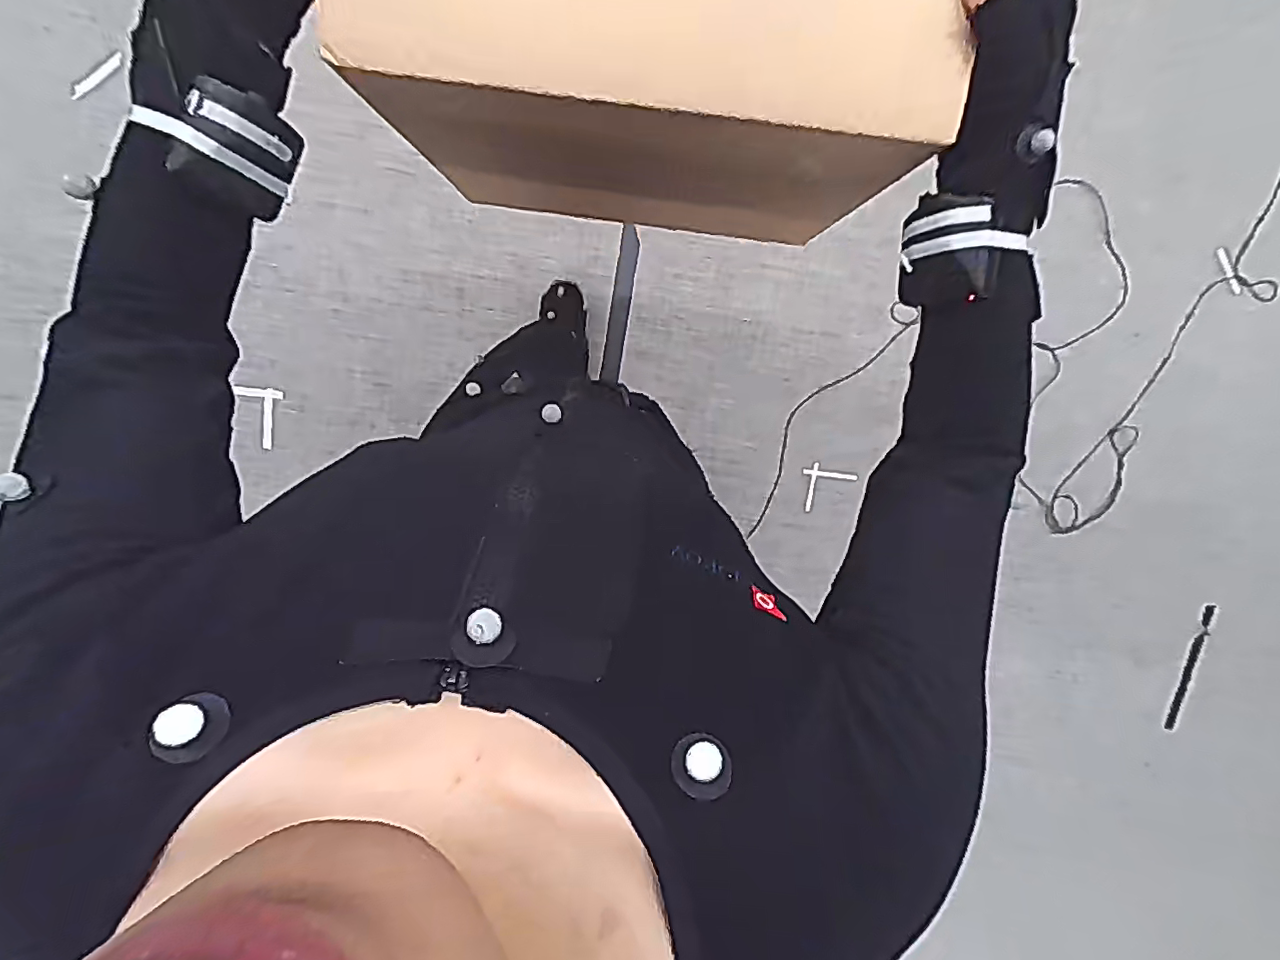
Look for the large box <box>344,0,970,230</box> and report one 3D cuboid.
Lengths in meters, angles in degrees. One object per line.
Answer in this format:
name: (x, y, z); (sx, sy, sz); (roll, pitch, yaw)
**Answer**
large box: (0.018, -0.433, 0.467); (0.408, 0.320, 0.320); (6, 103, -3)
